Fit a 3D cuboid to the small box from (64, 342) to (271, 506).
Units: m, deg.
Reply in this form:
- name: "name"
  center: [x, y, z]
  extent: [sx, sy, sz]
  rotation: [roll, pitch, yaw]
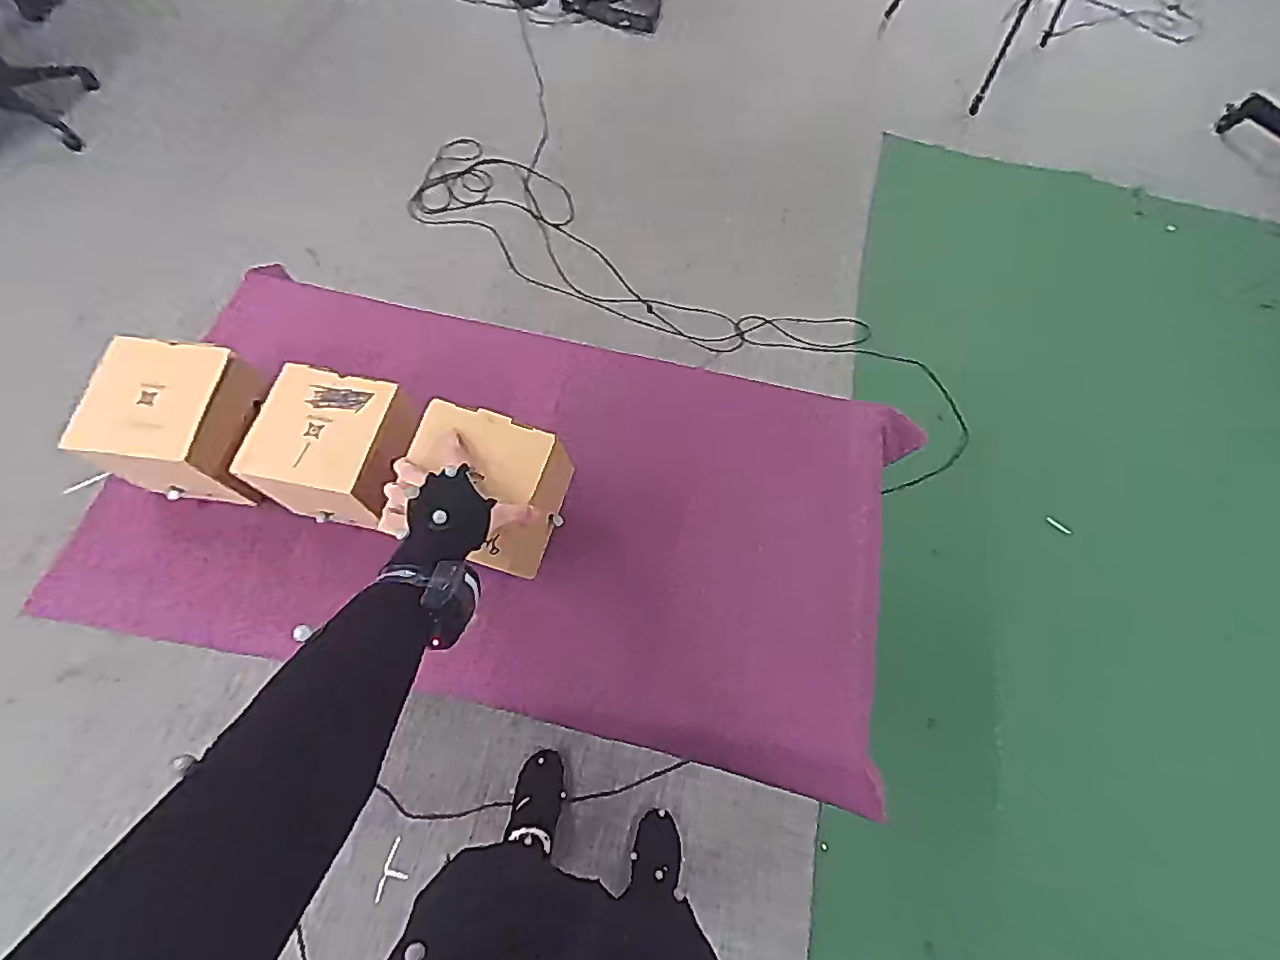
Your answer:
- name: "small box"
  center: [-0.670, -0.078, 0.814]
  extent: [0.168, 0.176, 0.179]
  rotation: [7, 67, 0]

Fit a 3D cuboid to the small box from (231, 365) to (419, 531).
- name: "small box"
  center: [-0.445, -0.041, 0.810]
  extent: [0.168, 0.176, 0.179]
  rotation: [11, 68, 2]

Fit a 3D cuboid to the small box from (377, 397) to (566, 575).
- name: "small box"
  center: [-0.207, 0.018, 0.726]
  extent: [0.168, 0.176, 0.179]
  rotation: [18, 78, 6]
